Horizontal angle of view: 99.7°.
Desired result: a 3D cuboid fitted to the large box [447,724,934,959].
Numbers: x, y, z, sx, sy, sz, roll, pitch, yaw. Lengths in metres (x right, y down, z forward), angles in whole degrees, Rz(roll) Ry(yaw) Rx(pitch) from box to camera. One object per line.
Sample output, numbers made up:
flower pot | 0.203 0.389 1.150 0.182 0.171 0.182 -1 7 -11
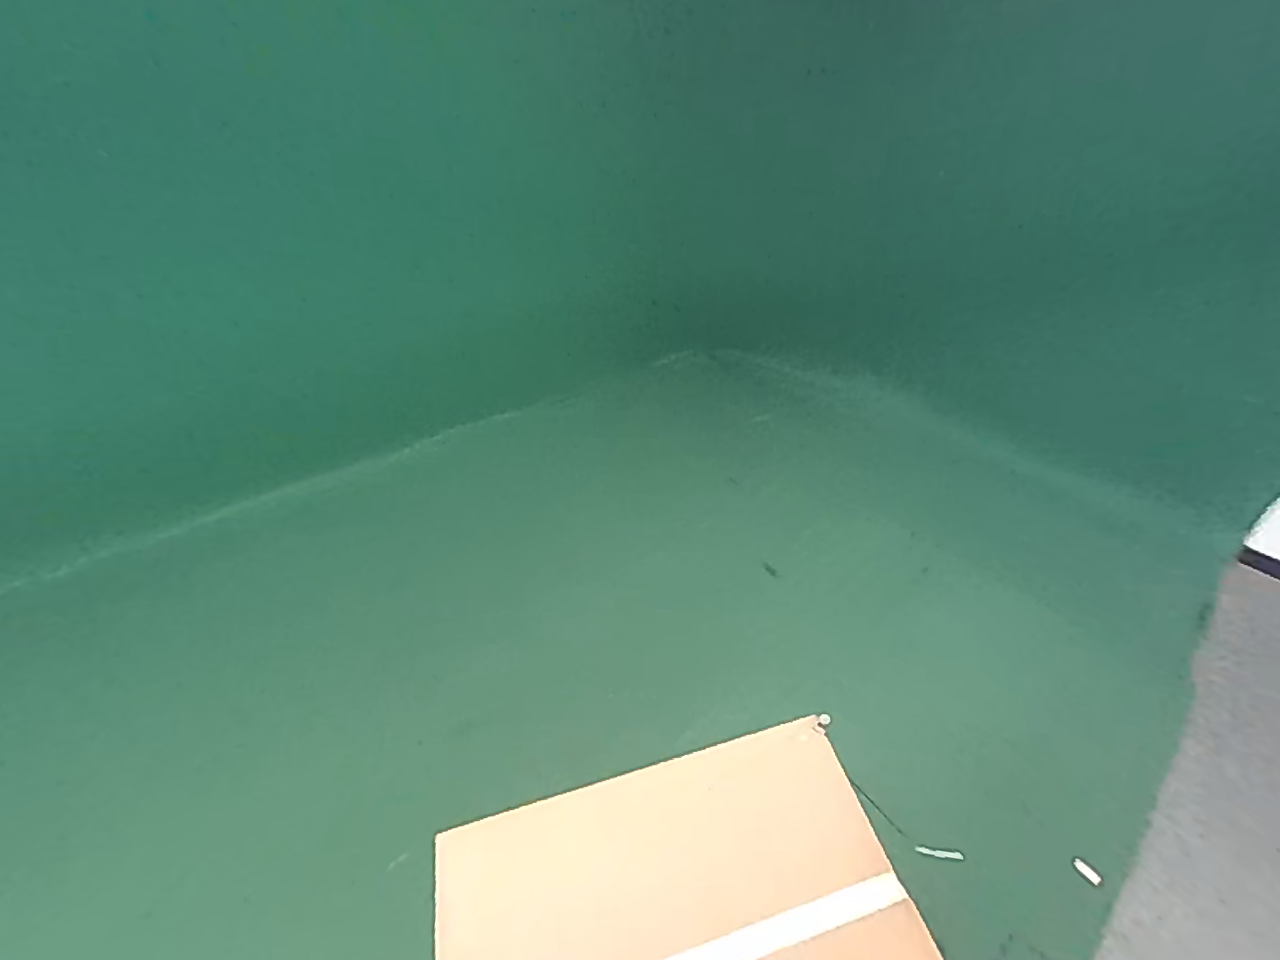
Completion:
large box | 0.047 0.519 0.559 0.408 0.320 0.320 -12 46 -10
